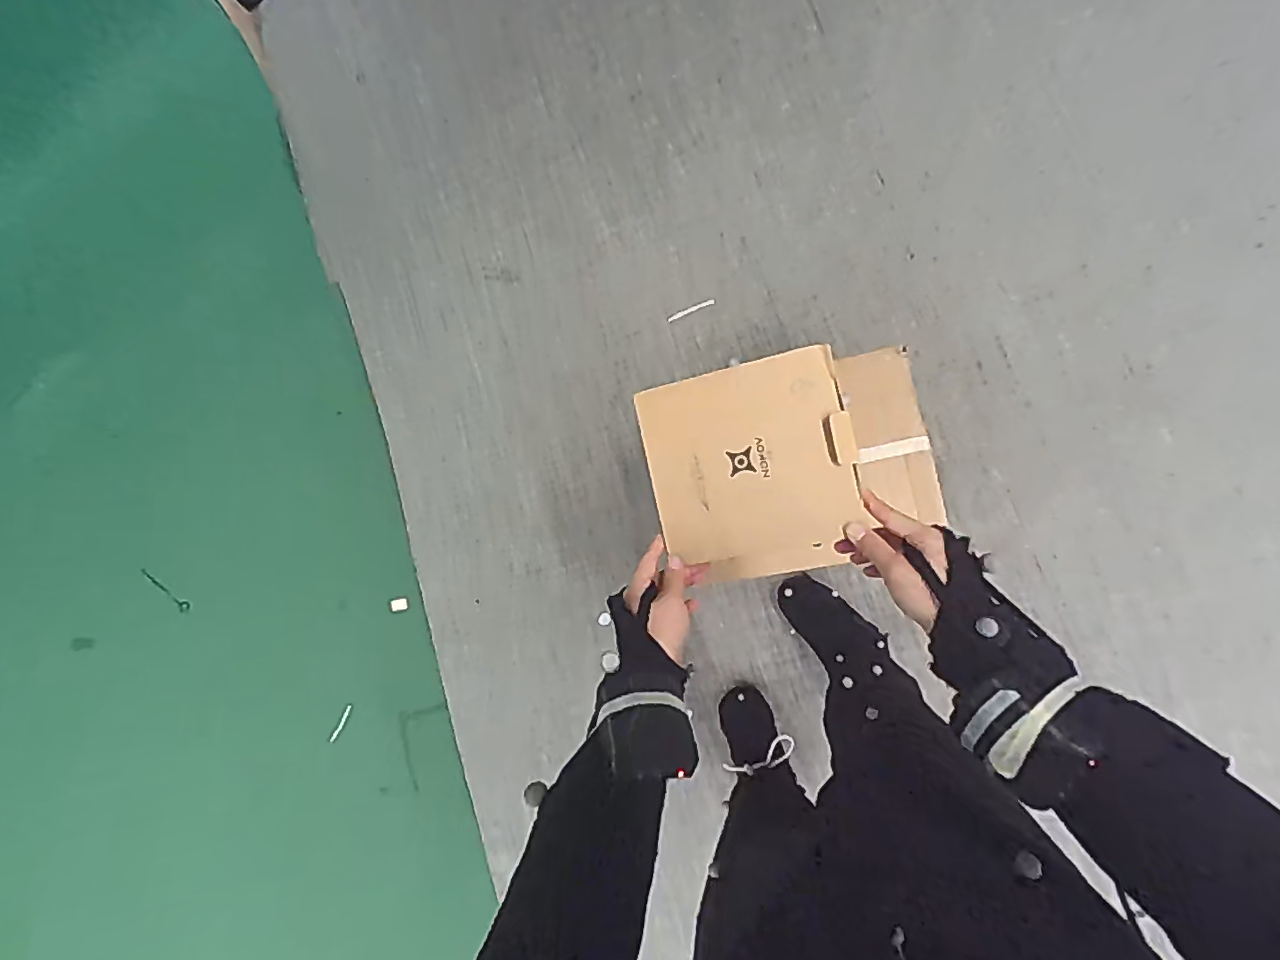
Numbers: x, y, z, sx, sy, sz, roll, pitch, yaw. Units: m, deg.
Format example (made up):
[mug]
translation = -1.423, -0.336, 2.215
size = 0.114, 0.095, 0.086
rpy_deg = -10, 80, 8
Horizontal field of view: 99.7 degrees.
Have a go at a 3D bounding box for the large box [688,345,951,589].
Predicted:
[large box]
translation = 0.279, -0.005, 0.998
size = 0.408, 0.320, 0.320
rpy_deg = -13, 85, 15

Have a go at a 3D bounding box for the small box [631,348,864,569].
[small box]
translation = 0.112, -0.019, 0.549
size = 0.179, 0.176, 0.168
rpy_deg = -14, 88, 18
